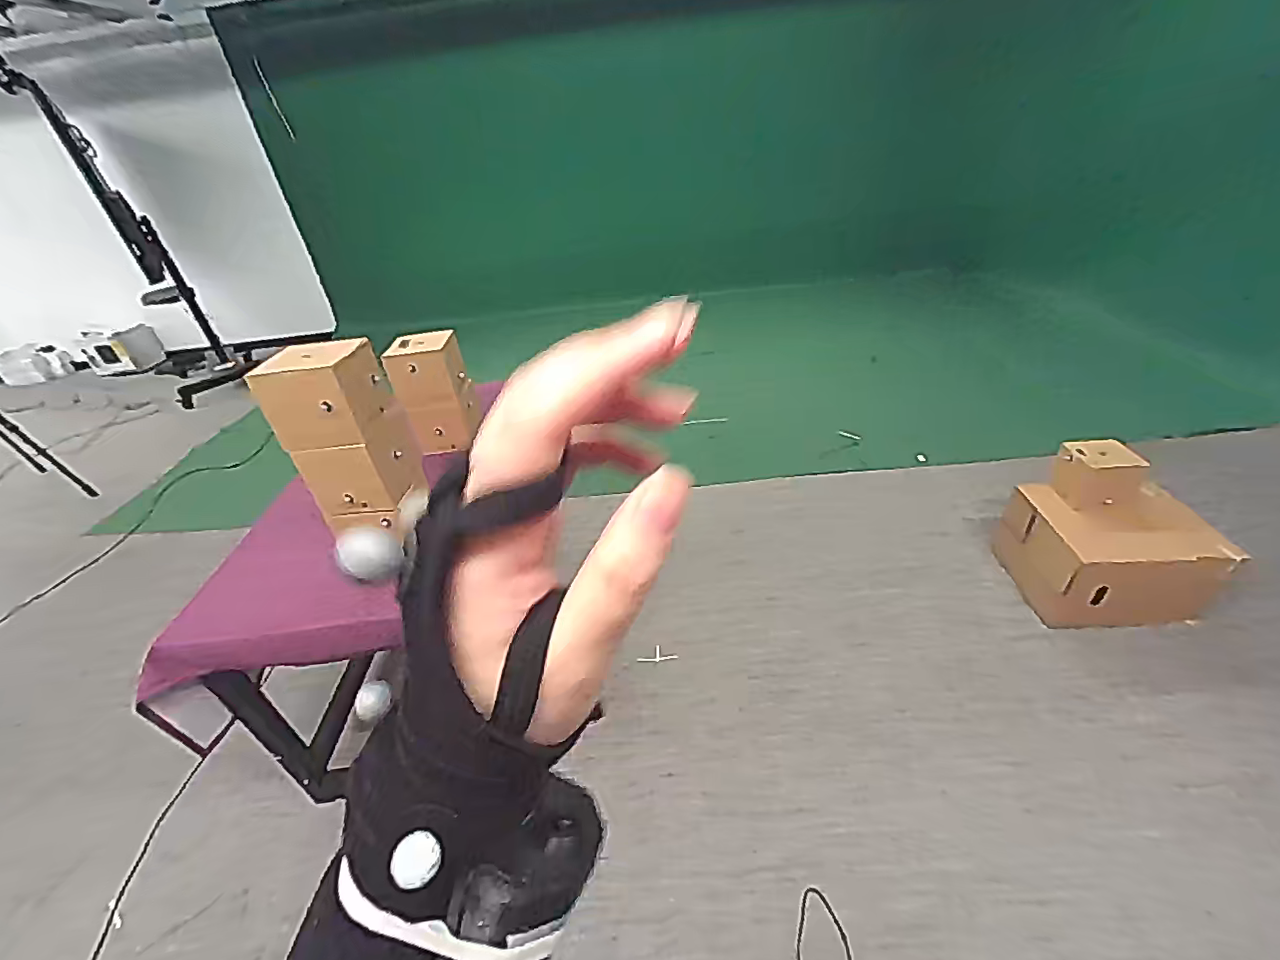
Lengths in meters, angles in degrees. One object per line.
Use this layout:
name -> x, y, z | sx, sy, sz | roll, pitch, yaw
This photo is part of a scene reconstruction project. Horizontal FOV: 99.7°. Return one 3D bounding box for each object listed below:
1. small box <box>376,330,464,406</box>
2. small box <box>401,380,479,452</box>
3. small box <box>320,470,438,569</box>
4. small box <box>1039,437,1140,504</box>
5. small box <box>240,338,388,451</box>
small box -> -0.653, -0.333, 1.627 | 0.179, 0.176, 0.168 | -7, 35, 0
small box -> -0.627, -0.200, 1.720 | 0.168, 0.176, 0.179 | -6, 34, 2
small box -> -0.610, 0.096, 1.290 | 0.179, 0.176, 0.168 | -6, 34, 2
small box -> 1.495, -0.031, 1.810 | 0.179, 0.176, 0.168 | -2, 33, 4
small box -> -0.651, -0.175, 1.109 | 0.179, 0.176, 0.168 | -6, 34, 3
